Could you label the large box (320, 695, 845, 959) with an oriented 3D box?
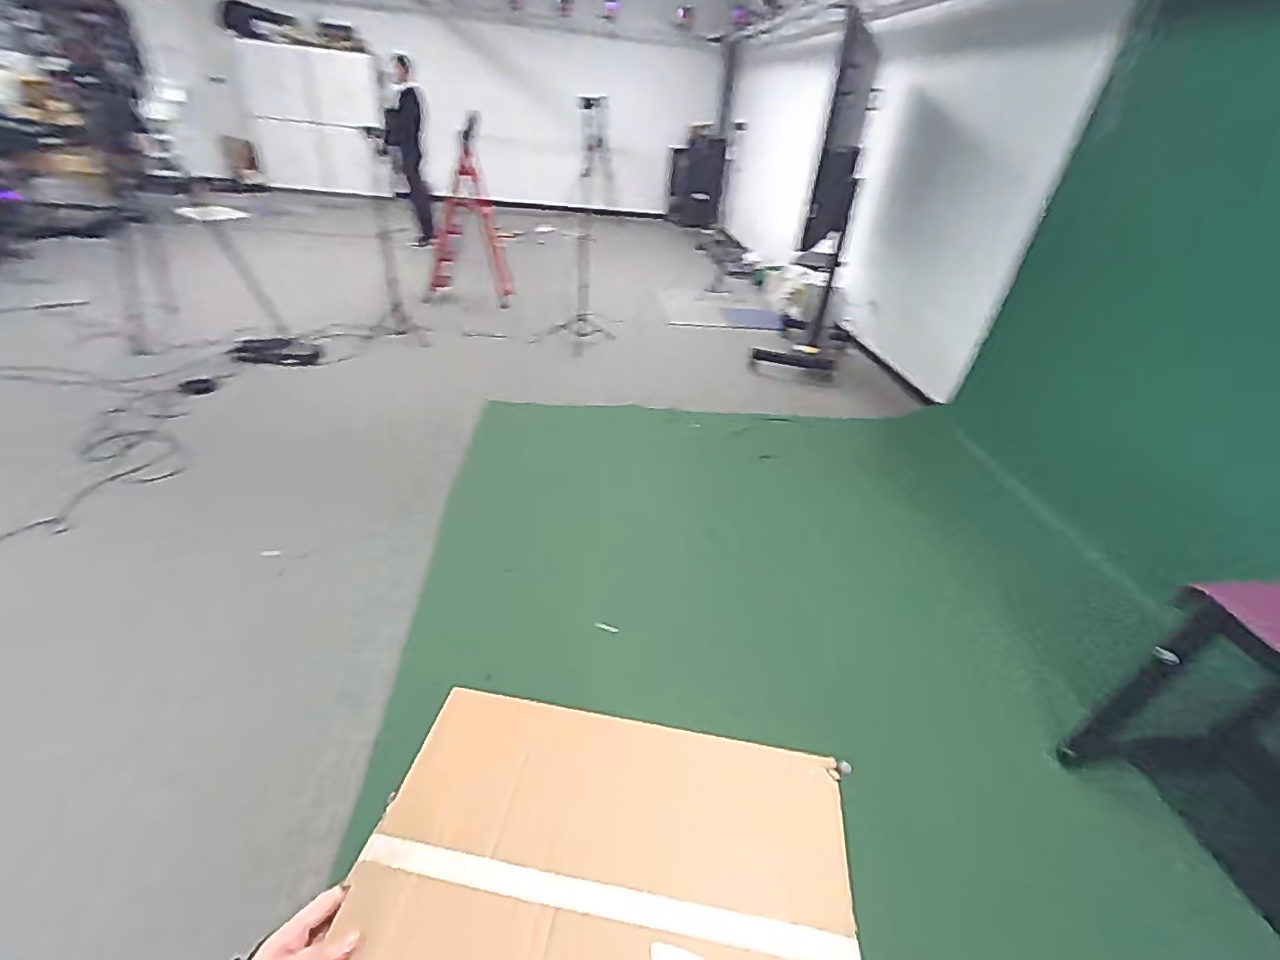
[{"bbox_3d":[-0.044,0.463,0.533,0.408,0.320,0.320,8,36,5],"label":"large box"}]
